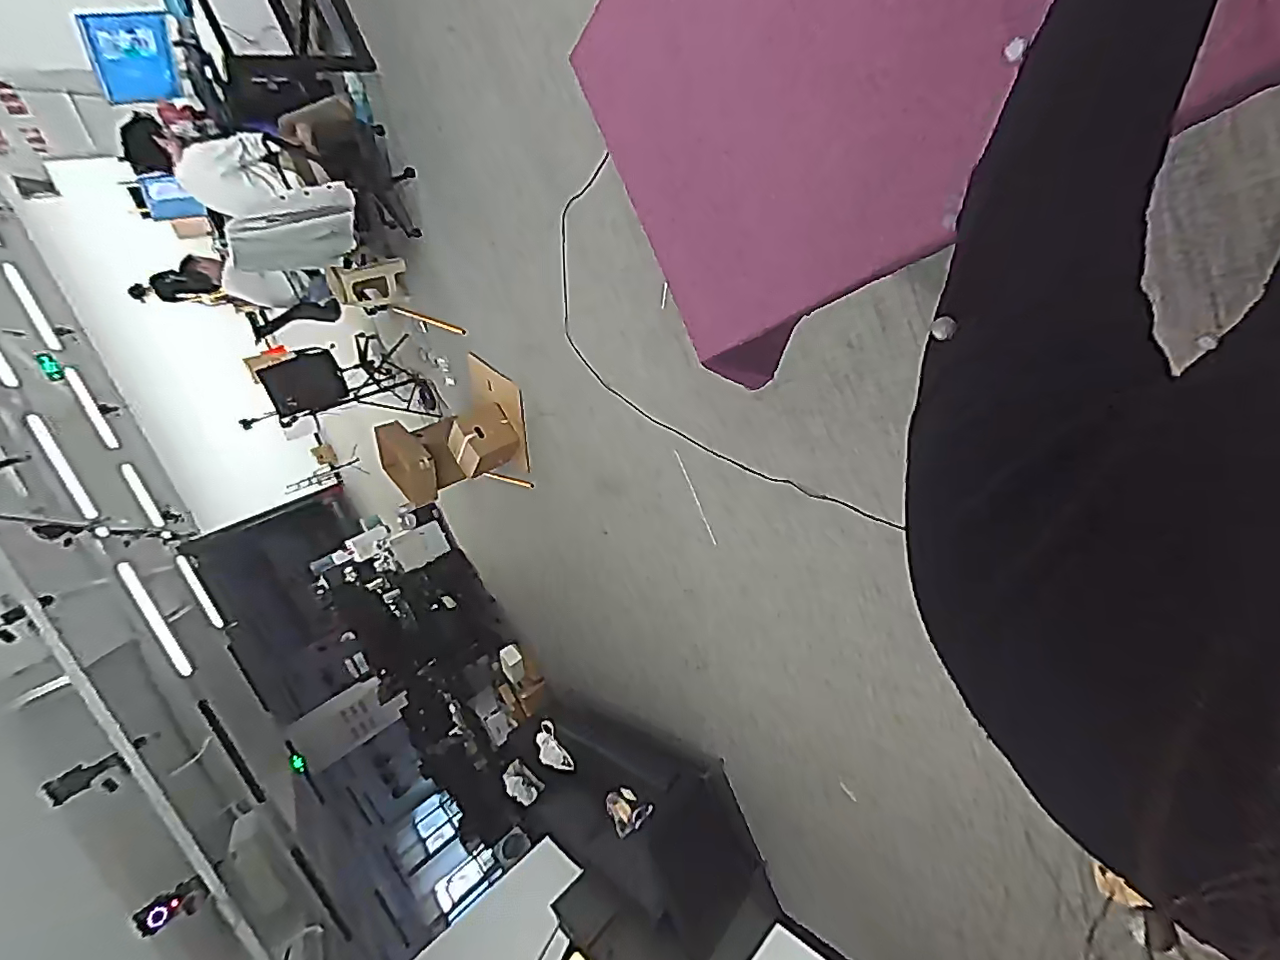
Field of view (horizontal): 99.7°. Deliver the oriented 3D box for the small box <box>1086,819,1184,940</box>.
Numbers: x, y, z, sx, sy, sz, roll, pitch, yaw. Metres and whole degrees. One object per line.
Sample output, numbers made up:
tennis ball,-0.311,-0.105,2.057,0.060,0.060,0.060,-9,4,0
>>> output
small box,1.376,1.093,1.498,0.179,0.176,0.168,0,113,53
